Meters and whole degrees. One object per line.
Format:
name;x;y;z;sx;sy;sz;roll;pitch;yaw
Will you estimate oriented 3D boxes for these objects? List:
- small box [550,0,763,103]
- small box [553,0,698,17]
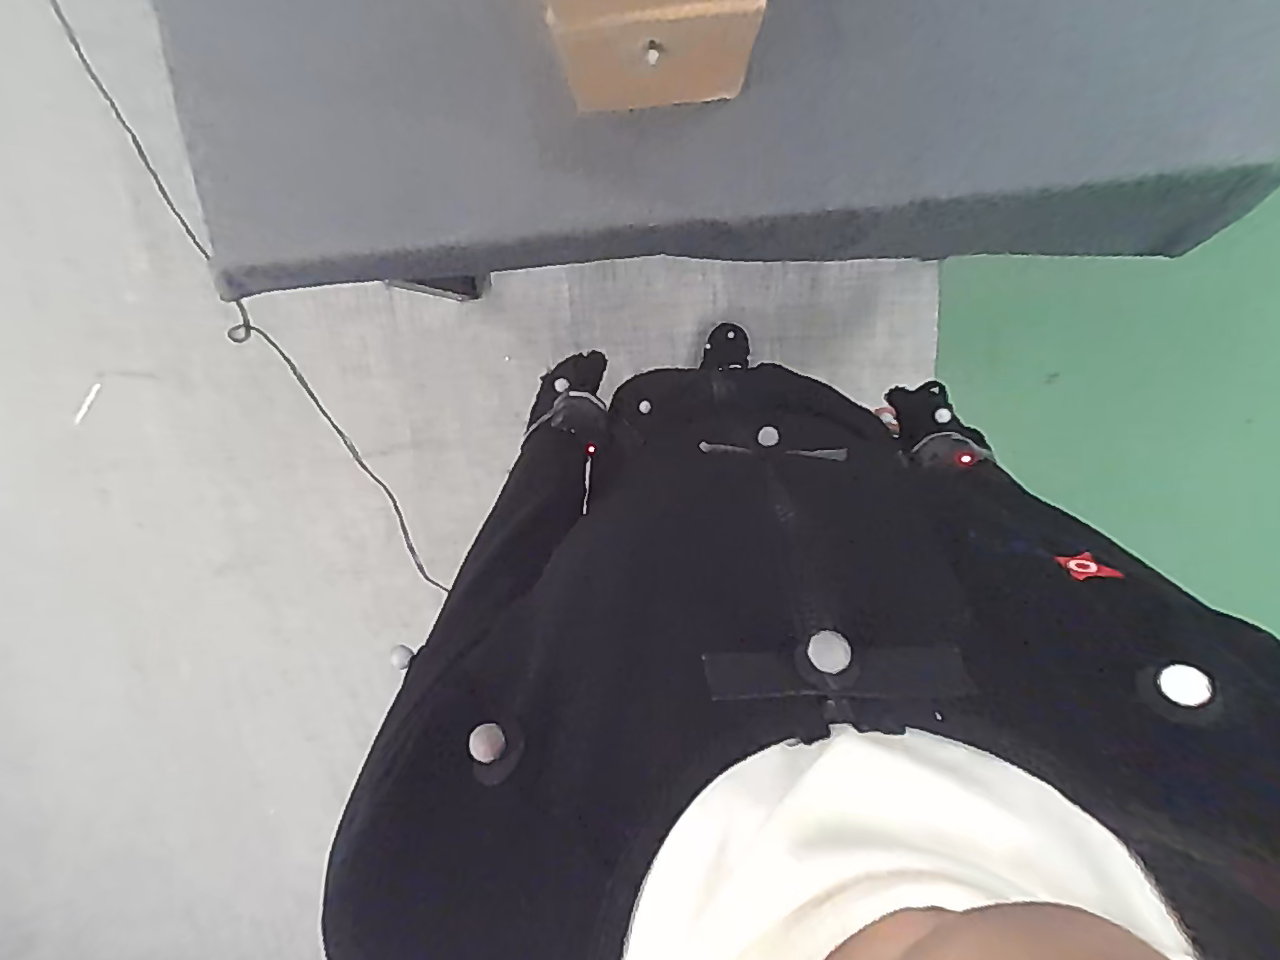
small box;0.013;-0.474;0.495;0.179;0.176;0.168;-3;105;2
small box;0.006;-0.436;0.336;0.179;0.176;0.168;-4;105;5
